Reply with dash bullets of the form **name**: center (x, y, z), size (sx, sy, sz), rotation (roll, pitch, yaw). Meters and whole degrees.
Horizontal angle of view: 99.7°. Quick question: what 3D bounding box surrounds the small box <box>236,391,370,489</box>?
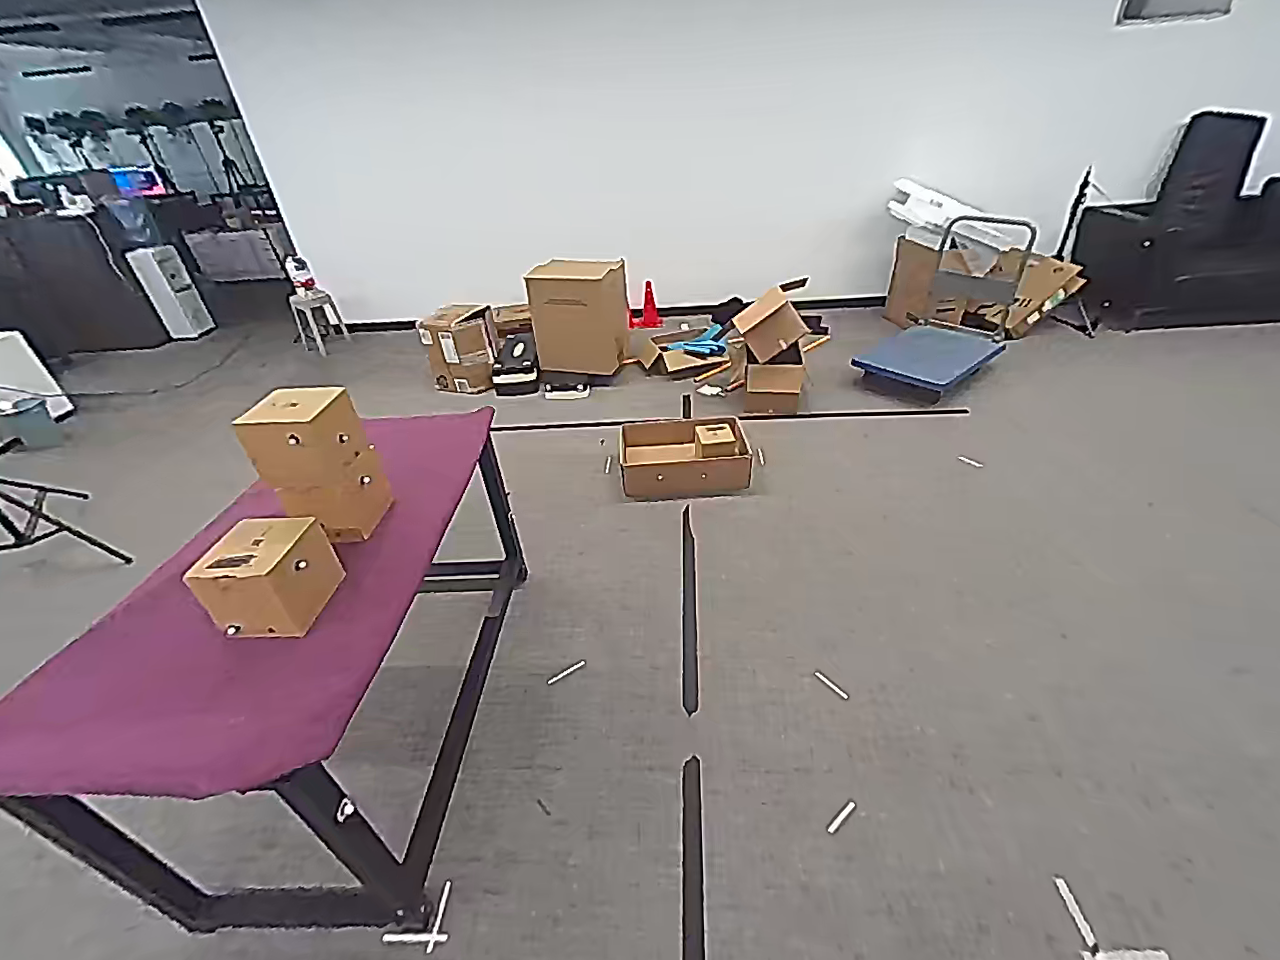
- **small box**: center (-0.756, -0.091, 1.240), size (0.179, 0.176, 0.168), rotation (-2, 35, 5)

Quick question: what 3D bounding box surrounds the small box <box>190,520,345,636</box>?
- **small box**: center (-0.740, 0.201, 1.101), size (0.168, 0.176, 0.179), rotation (-2, 34, 4)

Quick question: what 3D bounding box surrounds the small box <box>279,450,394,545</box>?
- **small box**: center (-0.736, 0.041, 1.338), size (0.168, 0.176, 0.179), rotation (-2, 35, 5)
